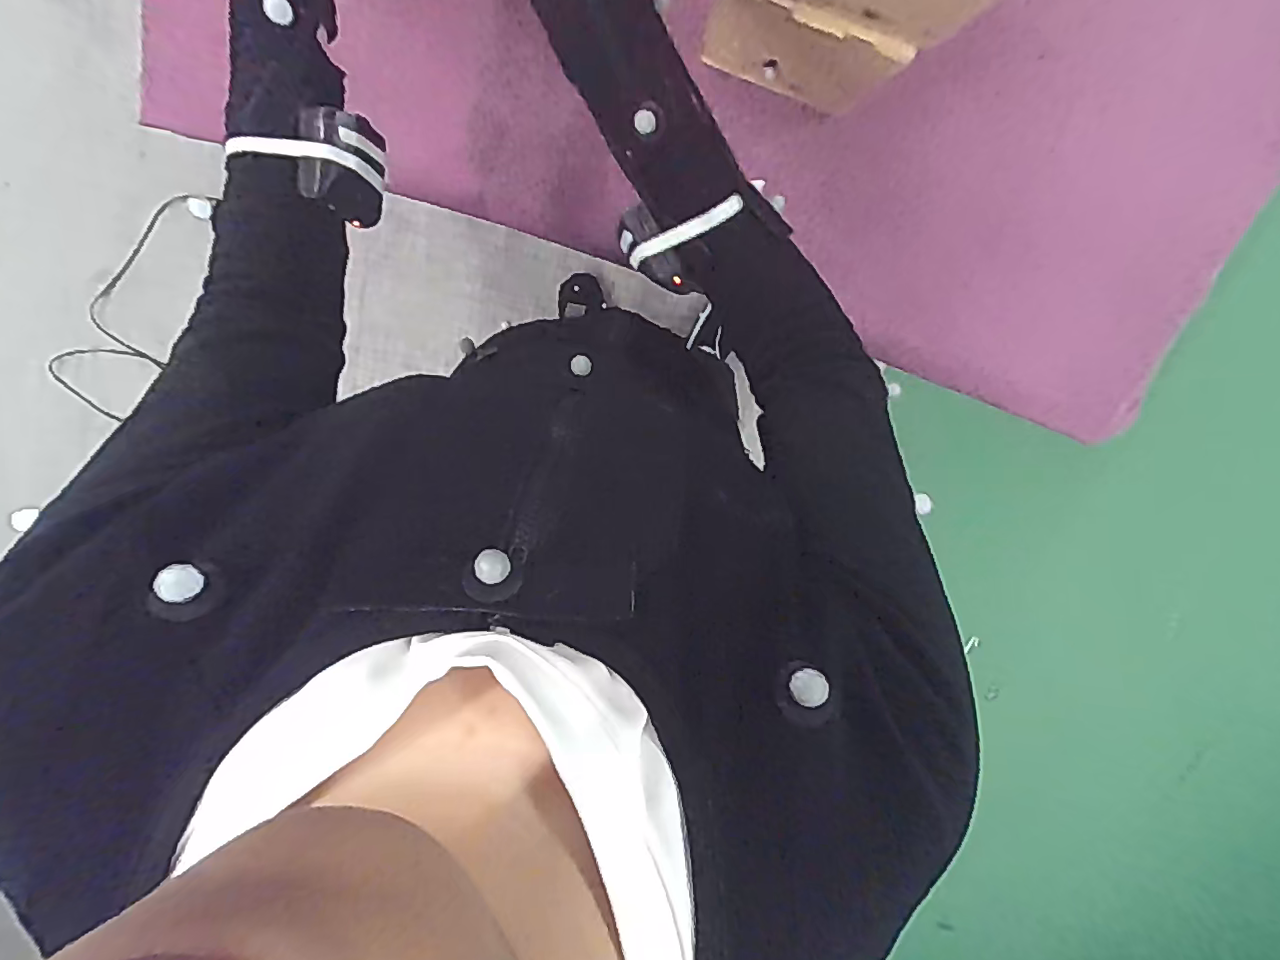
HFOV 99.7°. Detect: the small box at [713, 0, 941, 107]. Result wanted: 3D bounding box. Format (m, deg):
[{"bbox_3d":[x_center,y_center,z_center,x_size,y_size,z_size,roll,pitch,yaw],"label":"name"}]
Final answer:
[{"bbox_3d":[0.173,-0.470,0.474,0.168,0.176,0.179,17,112,-7],"label":"small box"}]
